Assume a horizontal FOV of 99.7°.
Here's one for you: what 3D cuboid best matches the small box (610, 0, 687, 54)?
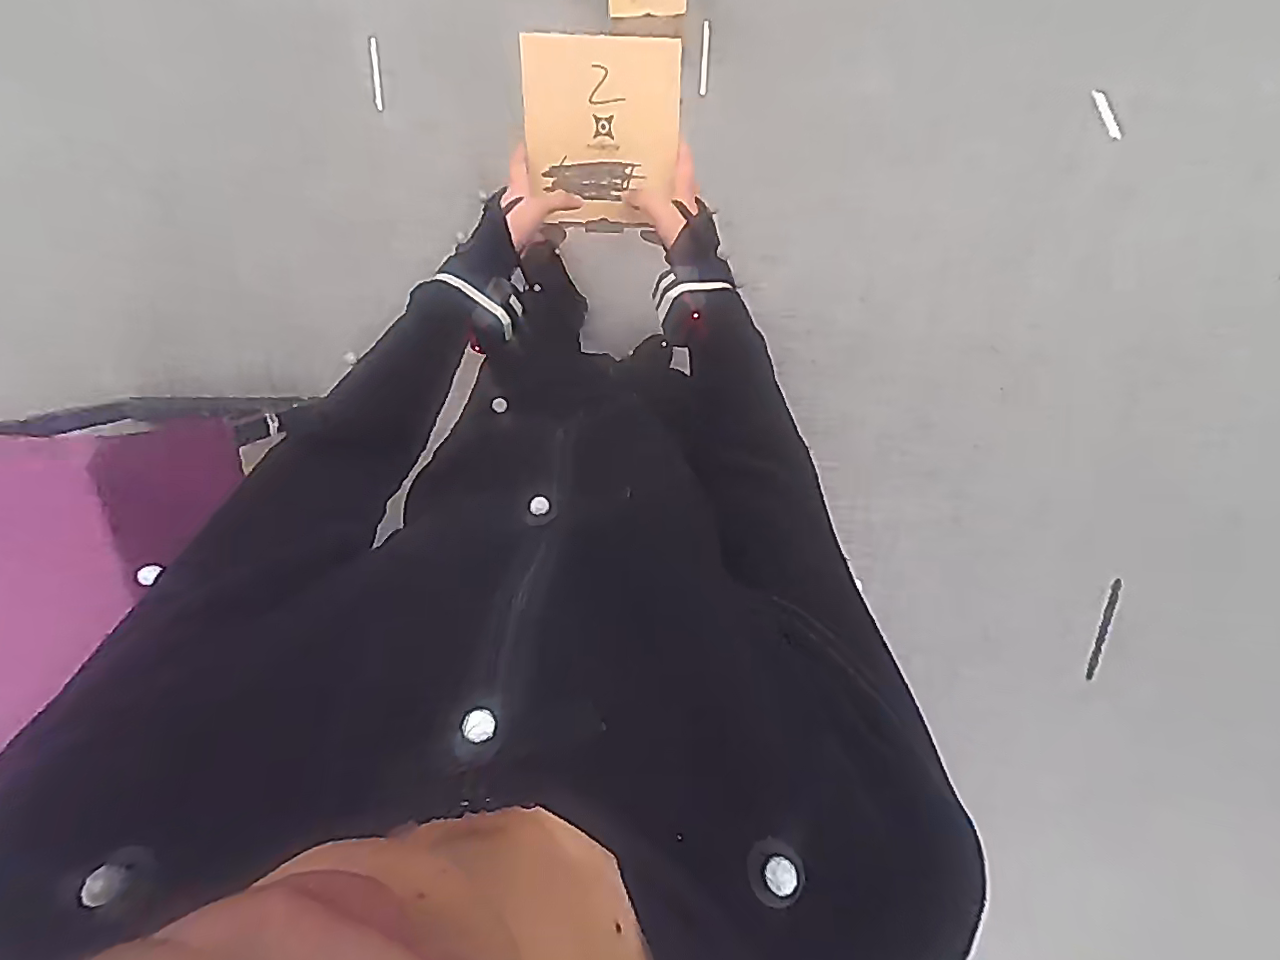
[{"bbox_3d":[0.016,-1.087,1.201,0.168,0.176,0.179,-2,109,1],"label":"small box"}]
